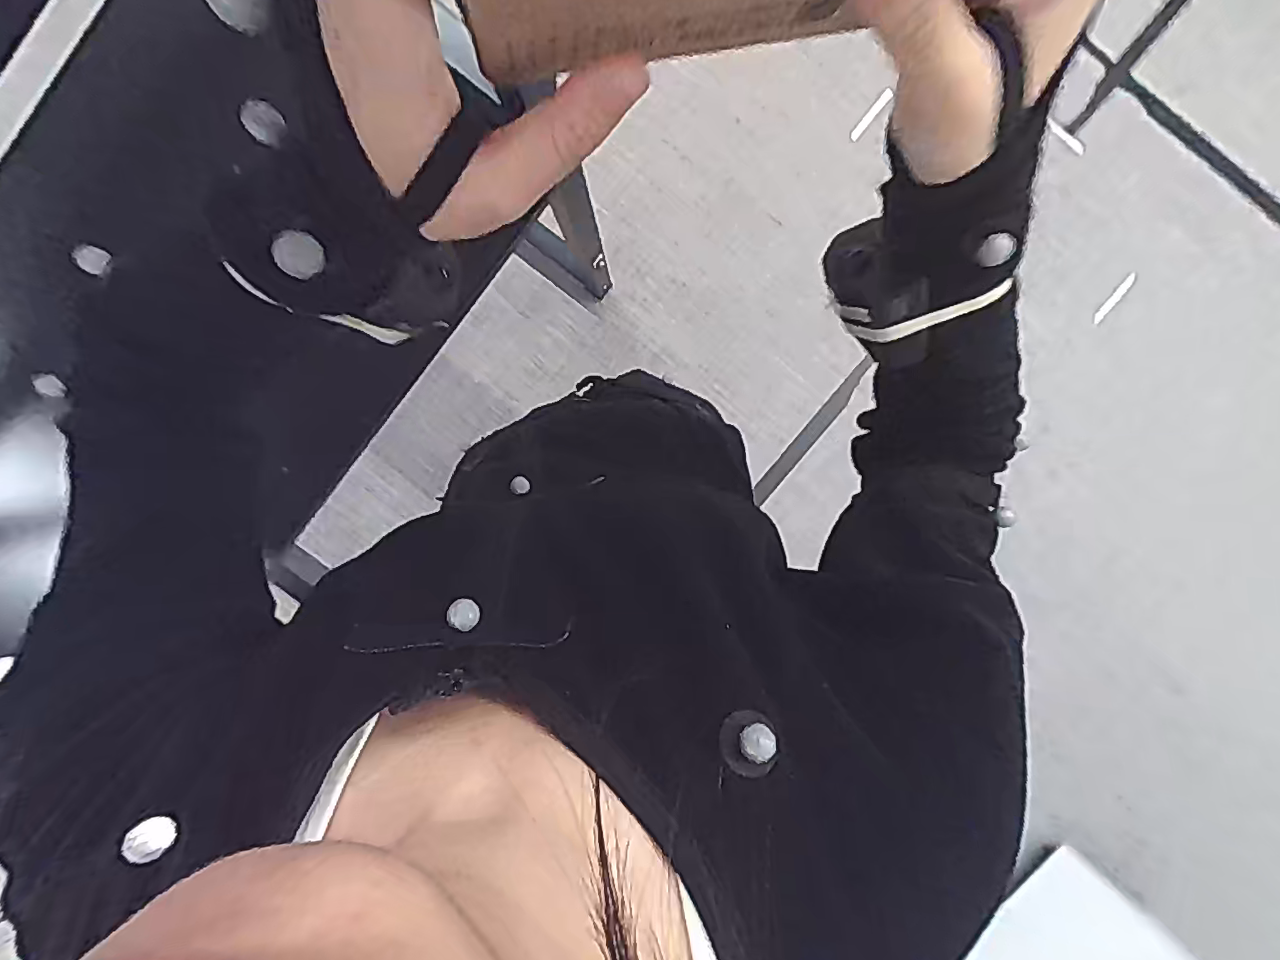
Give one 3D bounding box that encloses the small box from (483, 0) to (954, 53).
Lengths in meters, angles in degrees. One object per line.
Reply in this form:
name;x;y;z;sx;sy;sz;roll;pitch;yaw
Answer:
small box;0.029;-0.203;0.086;0.168;0.176;0.179;-11;108;-6
